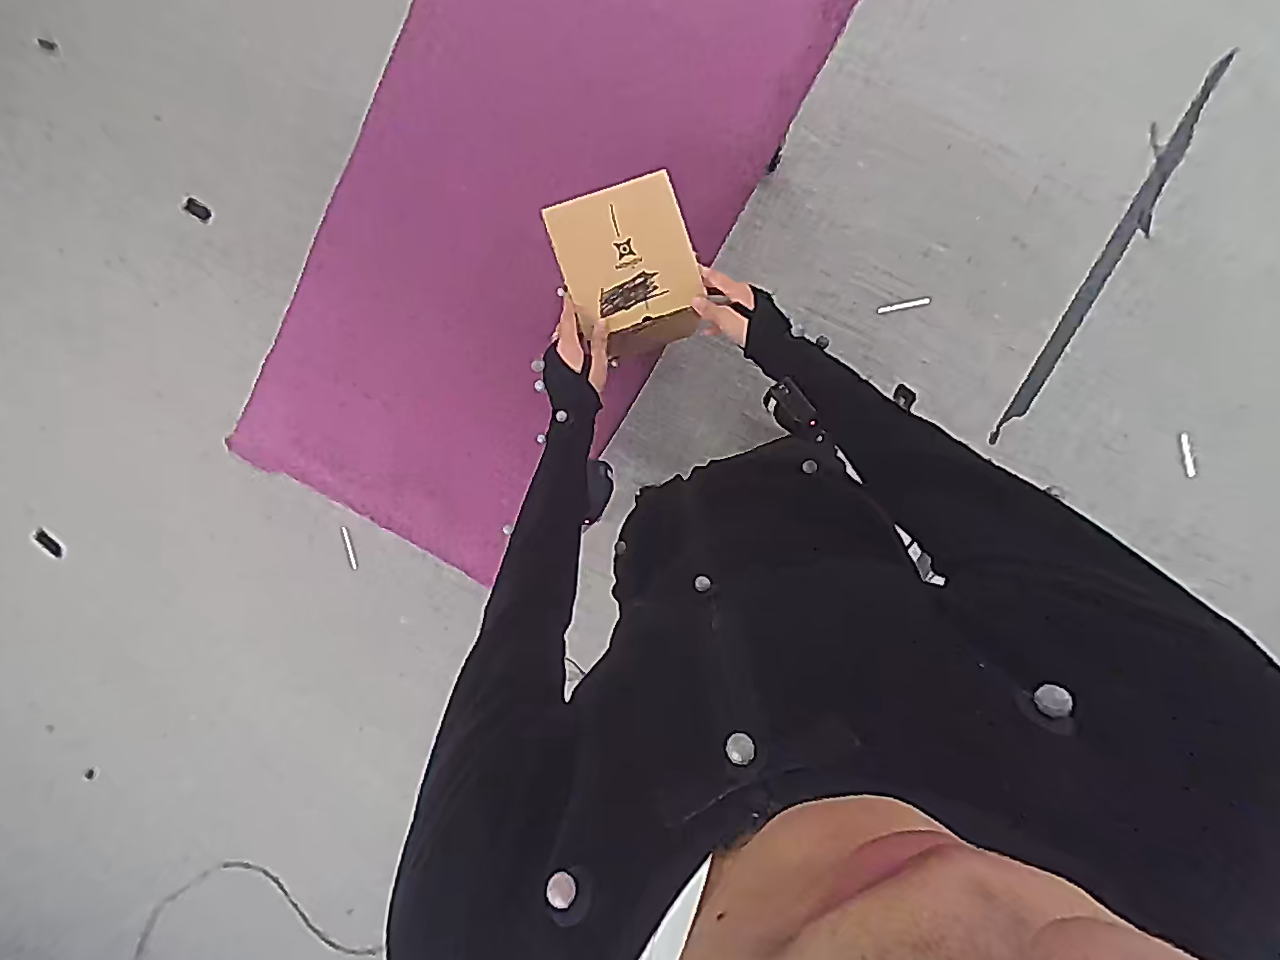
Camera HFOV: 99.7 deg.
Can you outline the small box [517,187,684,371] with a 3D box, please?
[{"bbox_3d":[-0.051,-0.264,0.762,0.168,0.176,0.179,-23,93,-1],"label":"small box"}]
